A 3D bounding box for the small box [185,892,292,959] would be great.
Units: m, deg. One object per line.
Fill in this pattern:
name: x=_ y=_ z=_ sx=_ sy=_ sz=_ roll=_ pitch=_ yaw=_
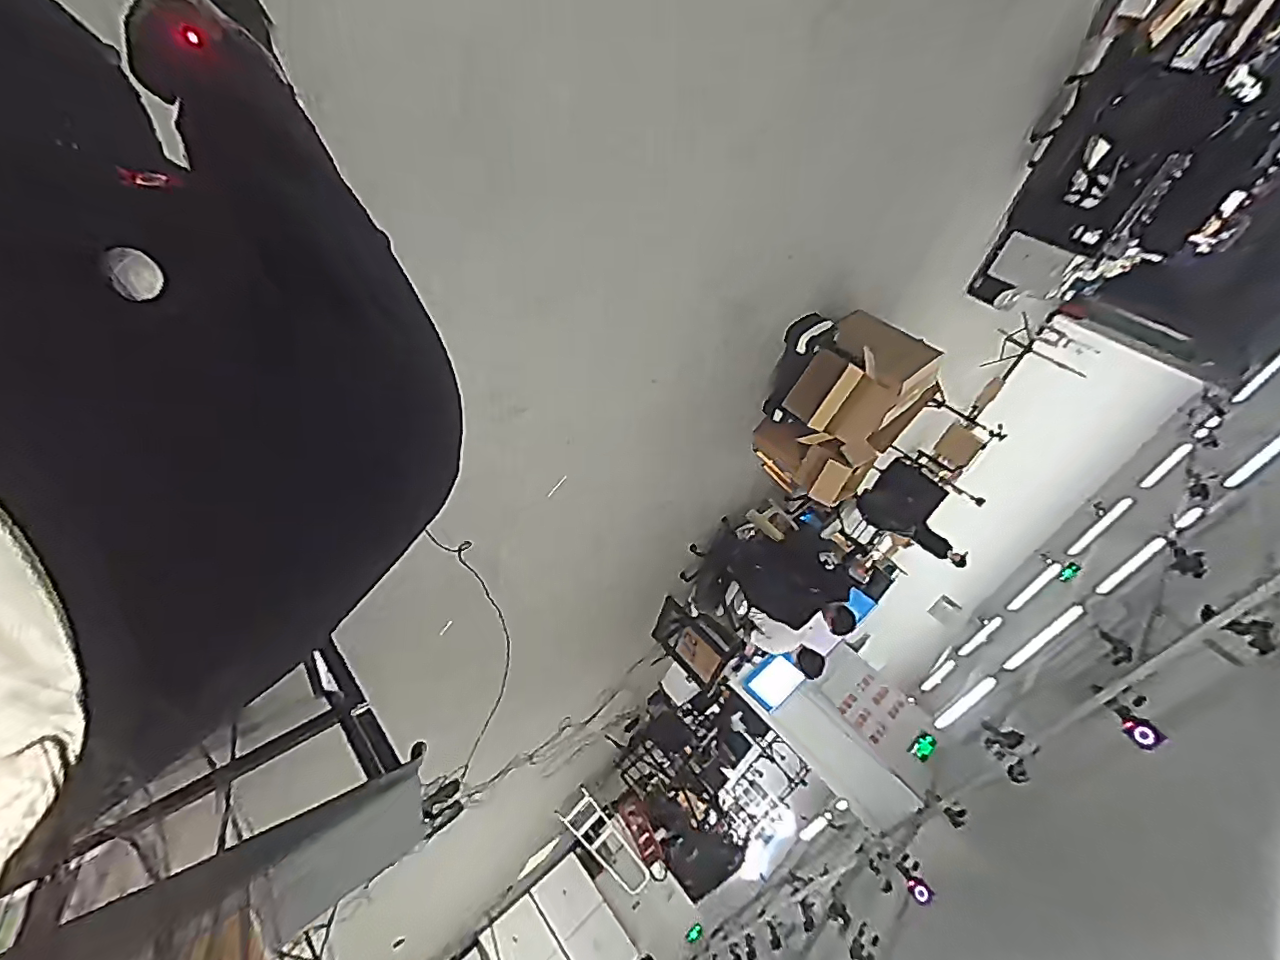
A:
small box: x=-1.040 y=1.227 z=1.405 sx=0.179 sy=0.176 sz=0.168 roll=-20 pitch=141 yaw=-39
